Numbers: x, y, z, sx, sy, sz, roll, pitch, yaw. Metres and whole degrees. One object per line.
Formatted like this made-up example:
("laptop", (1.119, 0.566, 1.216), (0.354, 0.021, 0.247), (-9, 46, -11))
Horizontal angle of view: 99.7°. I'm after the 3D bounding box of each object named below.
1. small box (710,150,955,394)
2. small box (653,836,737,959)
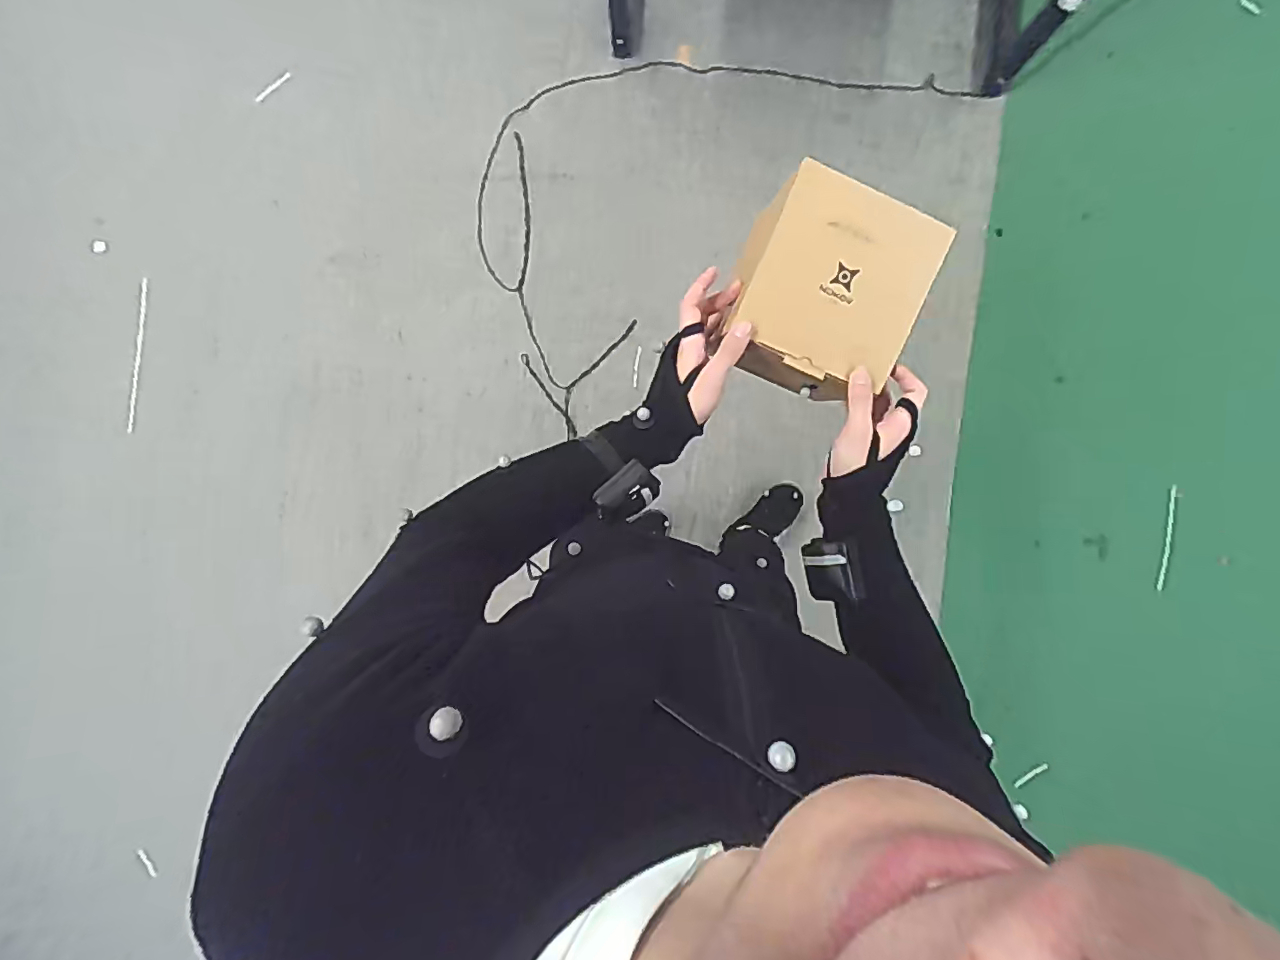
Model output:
("small box", (0.187, -0.203, 0.589), (0.168, 0.176, 0.179), (23, 95, -6))
("small box", (0.130, 1.010, 1.319), (0.179, 0.176, 0.168), (8, 91, 2))
